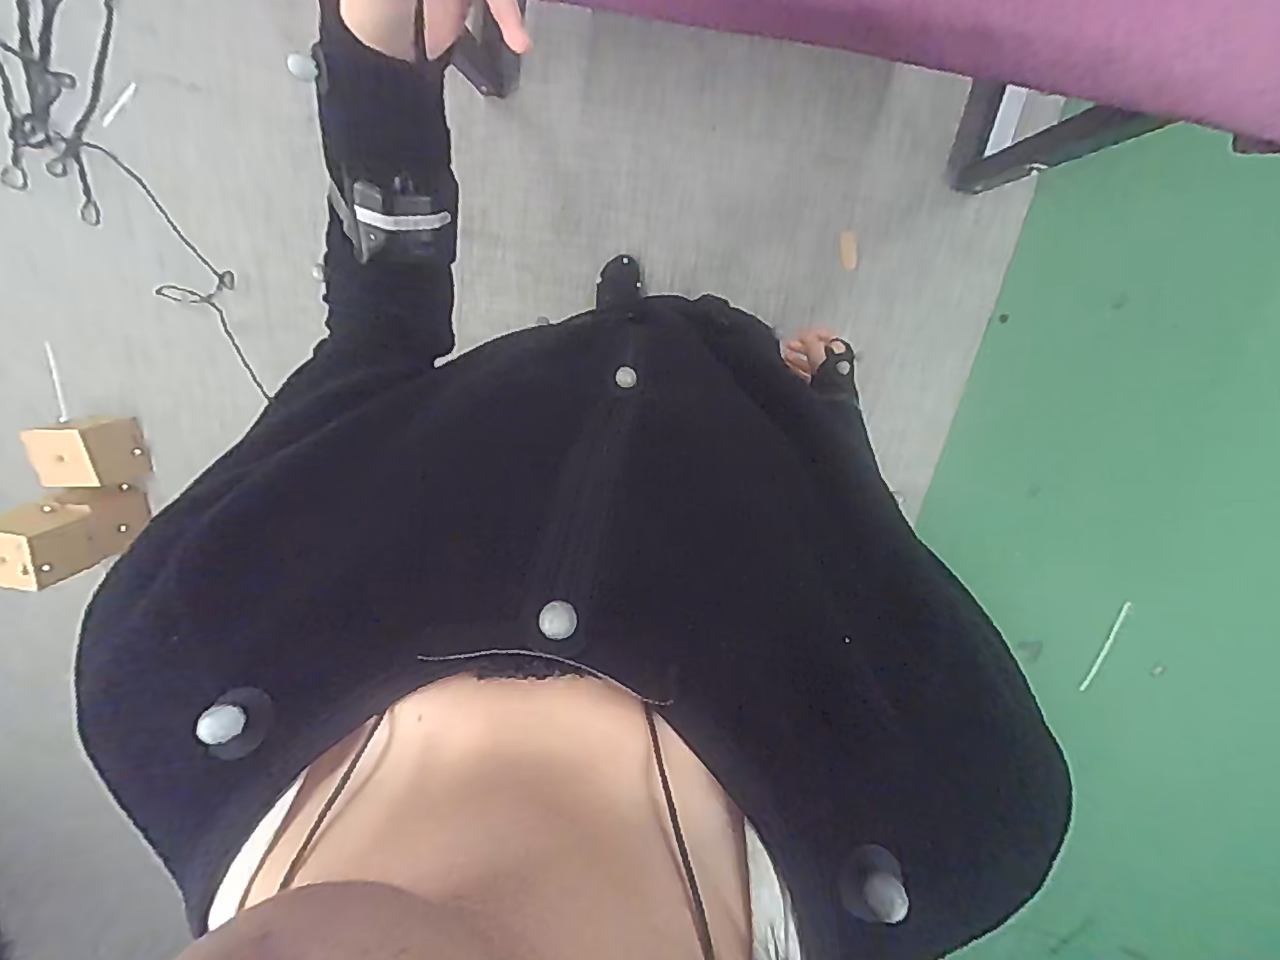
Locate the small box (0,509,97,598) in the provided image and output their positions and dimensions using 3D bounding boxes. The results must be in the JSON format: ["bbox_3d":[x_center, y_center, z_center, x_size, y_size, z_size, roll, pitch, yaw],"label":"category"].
[{"bbox_3d":[-1.636,0.190,1.455,0.179,0.176,0.168,11,109,2],"label":"small box"}]

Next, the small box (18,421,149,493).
[{"bbox_3d":[-1.571,-0.069,1.538,0.179,0.176,0.168,0,109,4],"label":"small box"}]

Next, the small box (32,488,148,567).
[{"bbox_3d":[-1.624,0.133,1.608,0.168,0.176,0.179,10,109,2],"label":"small box"}]
